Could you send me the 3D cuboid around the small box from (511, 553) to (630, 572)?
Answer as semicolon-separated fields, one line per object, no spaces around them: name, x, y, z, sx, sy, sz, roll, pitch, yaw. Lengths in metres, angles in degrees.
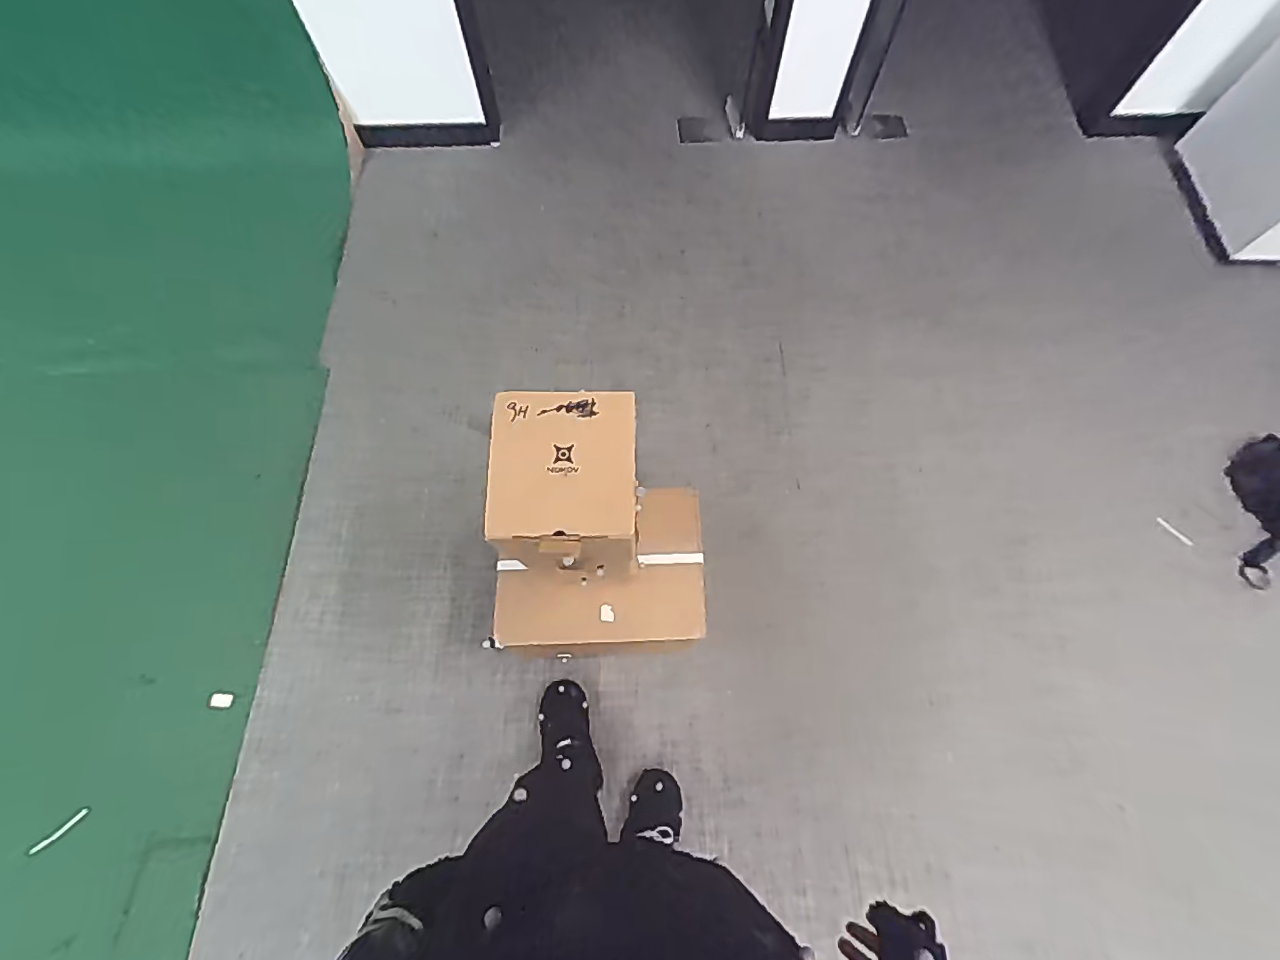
small box;-0.098;0.050;0.851;0.168;0.176;0.179;0;73;-1

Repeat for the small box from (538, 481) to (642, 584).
small box;-0.089;0.103;1.004;0.179;0.176;0.168;-3;74;-1

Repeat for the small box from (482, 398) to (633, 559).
small box;-0.093;0.008;0.693;0.168;0.176;0.179;0;74;0
